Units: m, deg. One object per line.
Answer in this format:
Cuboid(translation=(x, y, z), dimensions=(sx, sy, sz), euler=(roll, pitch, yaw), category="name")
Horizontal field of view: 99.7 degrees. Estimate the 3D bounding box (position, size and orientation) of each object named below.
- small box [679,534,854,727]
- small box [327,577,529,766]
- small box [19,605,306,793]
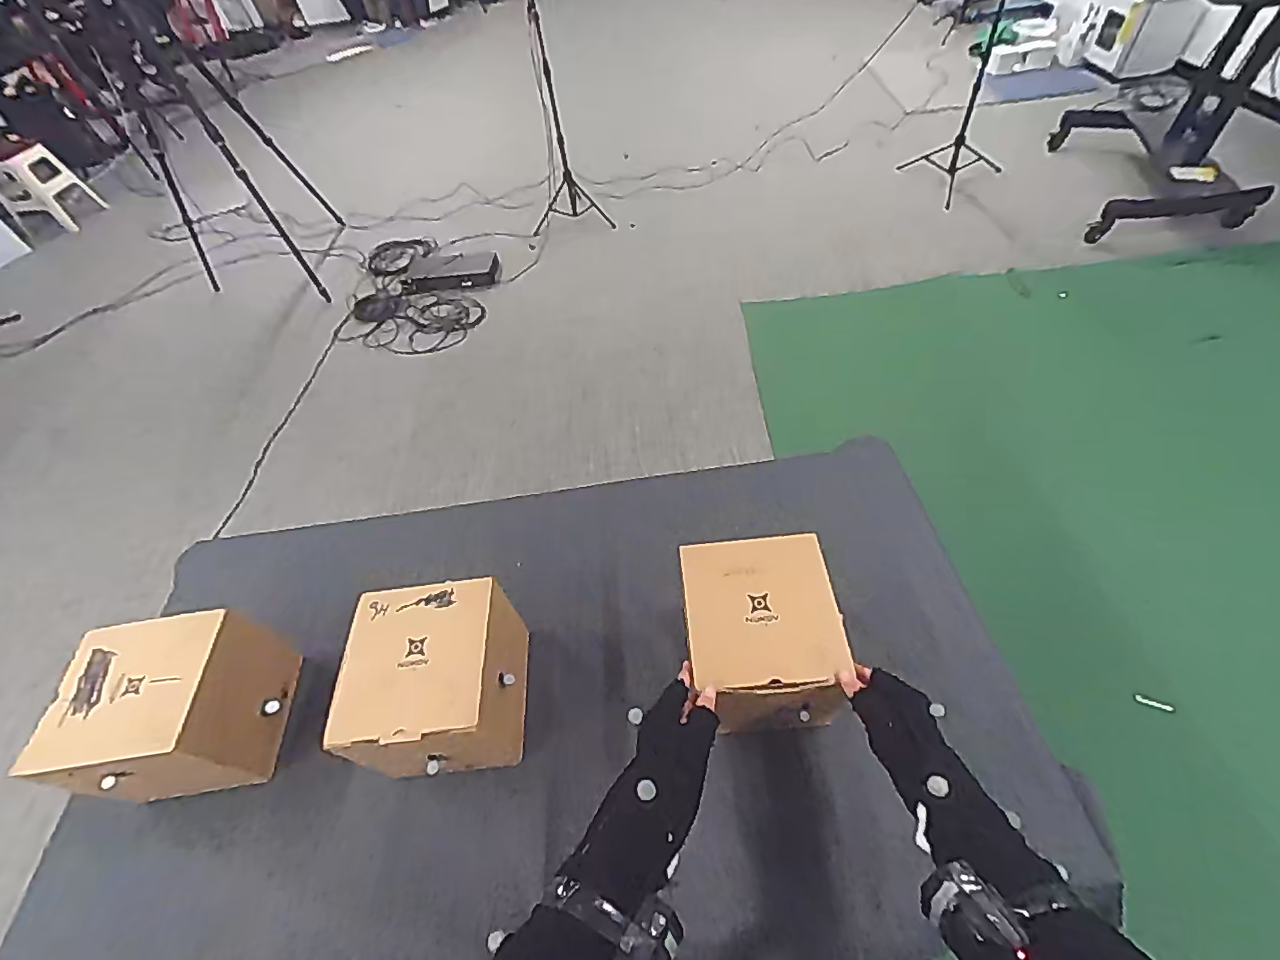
Cuboid(translation=(0.140, 0.189, 0.658), dimensions=(0.168, 0.176, 0.179), euler=(-6, 50, 2), category="small box")
Cuboid(translation=(-0.239, 0.242, 0.665), dimensions=(0.168, 0.176, 0.179), euler=(-7, 52, 2), category="small box")
Cuboid(translation=(-0.569, 0.278, 0.677), dimensions=(0.179, 0.176, 0.168), euler=(-8, 52, -1), category="small box")
